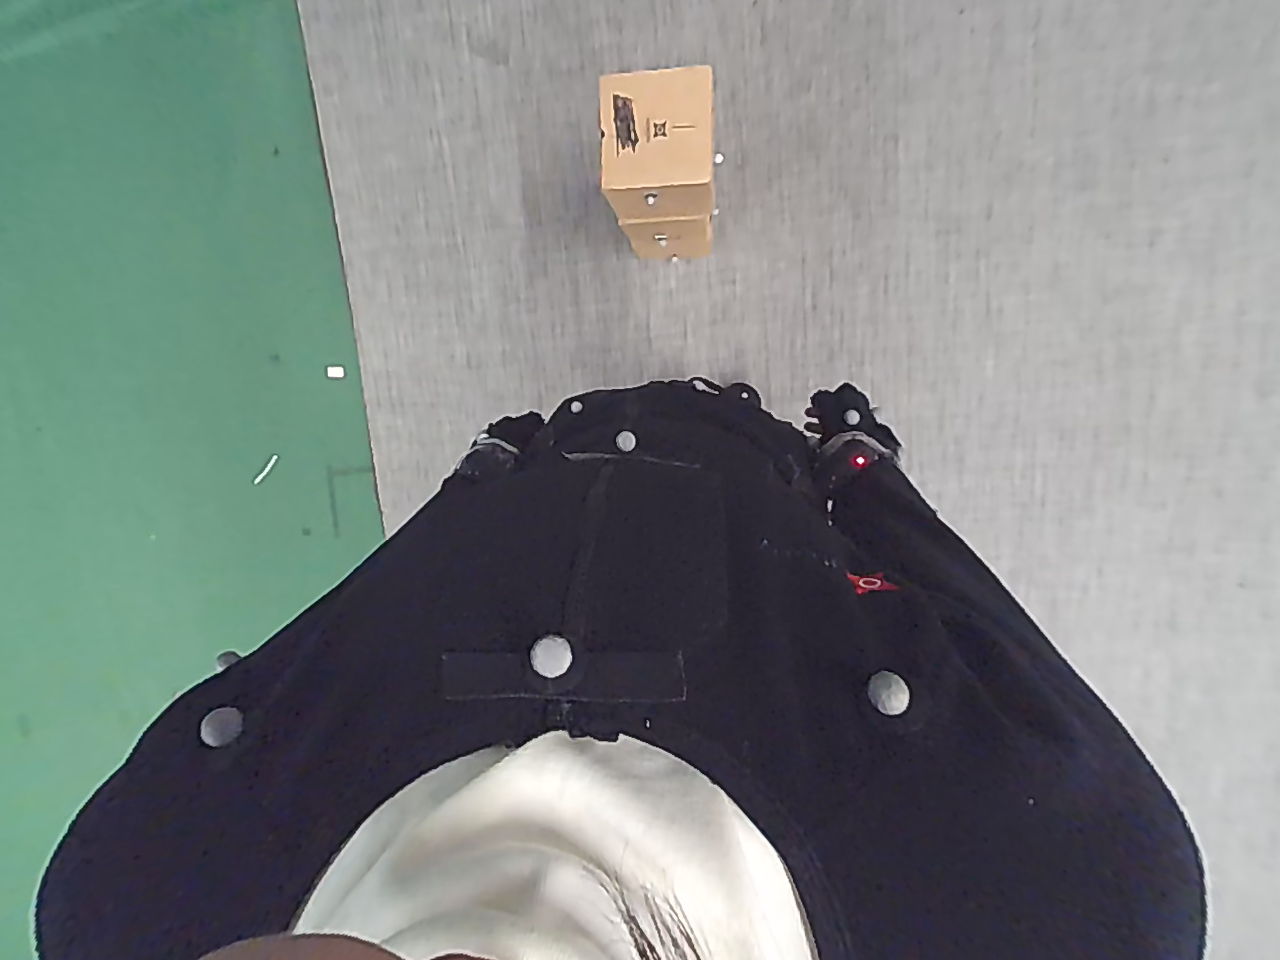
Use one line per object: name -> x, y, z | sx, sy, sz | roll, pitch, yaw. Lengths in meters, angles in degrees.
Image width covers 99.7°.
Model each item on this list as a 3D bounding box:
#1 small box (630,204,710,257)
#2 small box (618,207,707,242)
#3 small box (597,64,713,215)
small box -> 0.072, -0.614, 1.236 | 0.179, 0.176, 0.168 | 1, 101, 7
small box -> 0.049, -0.590, 1.077 | 0.168, 0.176, 0.179 | 0, 101, 10
small box -> 0.032, -0.561, 0.915 | 0.179, 0.176, 0.168 | 1, 101, 8
